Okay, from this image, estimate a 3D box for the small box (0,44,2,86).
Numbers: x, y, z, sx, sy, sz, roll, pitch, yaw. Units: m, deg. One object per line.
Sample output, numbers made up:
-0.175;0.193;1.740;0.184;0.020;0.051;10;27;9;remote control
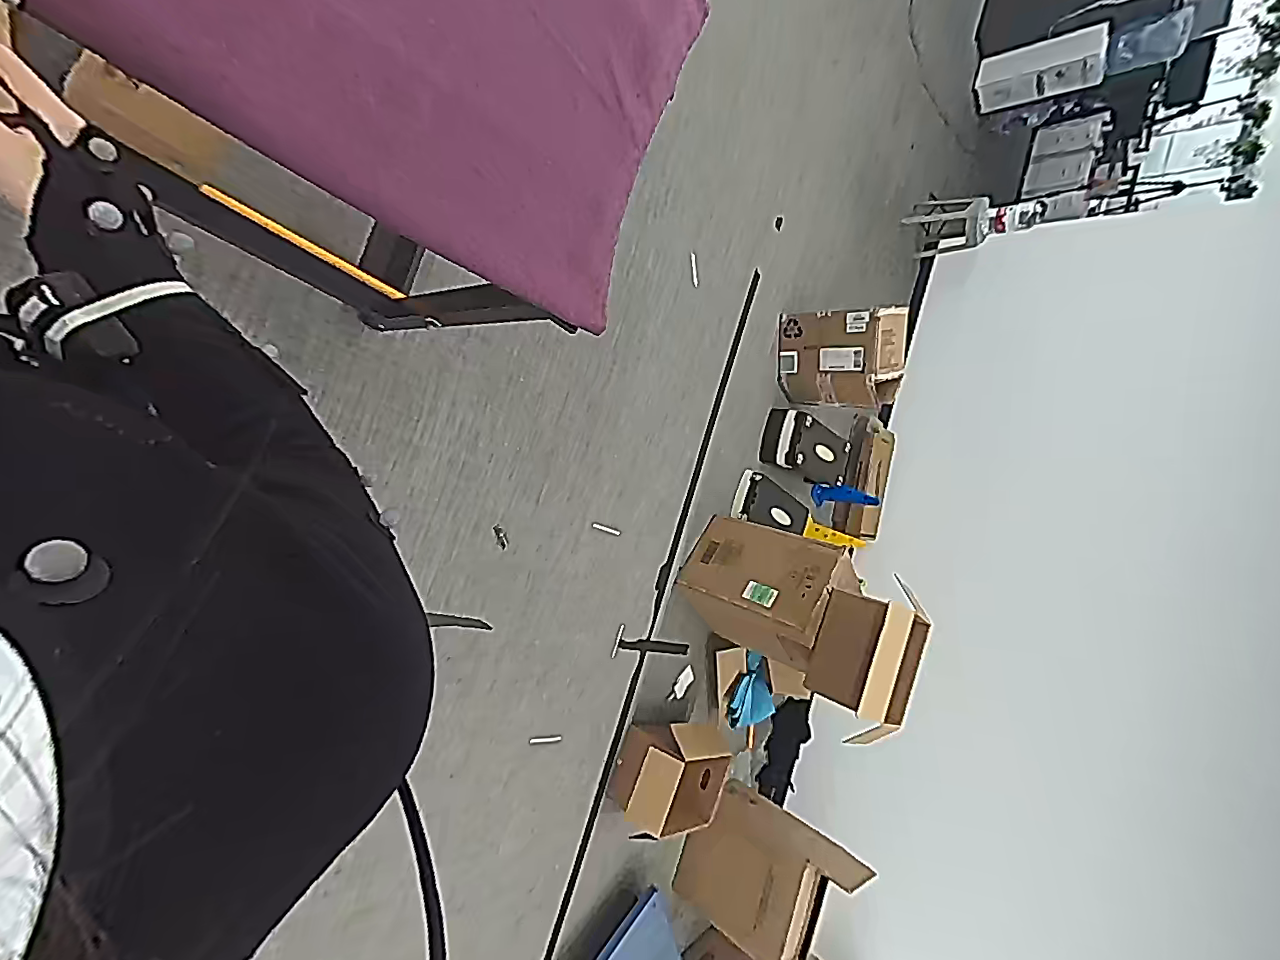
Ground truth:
-0.490;-0.329;0.292;0.179;0.176;0.168;-2;116;-42;small box
